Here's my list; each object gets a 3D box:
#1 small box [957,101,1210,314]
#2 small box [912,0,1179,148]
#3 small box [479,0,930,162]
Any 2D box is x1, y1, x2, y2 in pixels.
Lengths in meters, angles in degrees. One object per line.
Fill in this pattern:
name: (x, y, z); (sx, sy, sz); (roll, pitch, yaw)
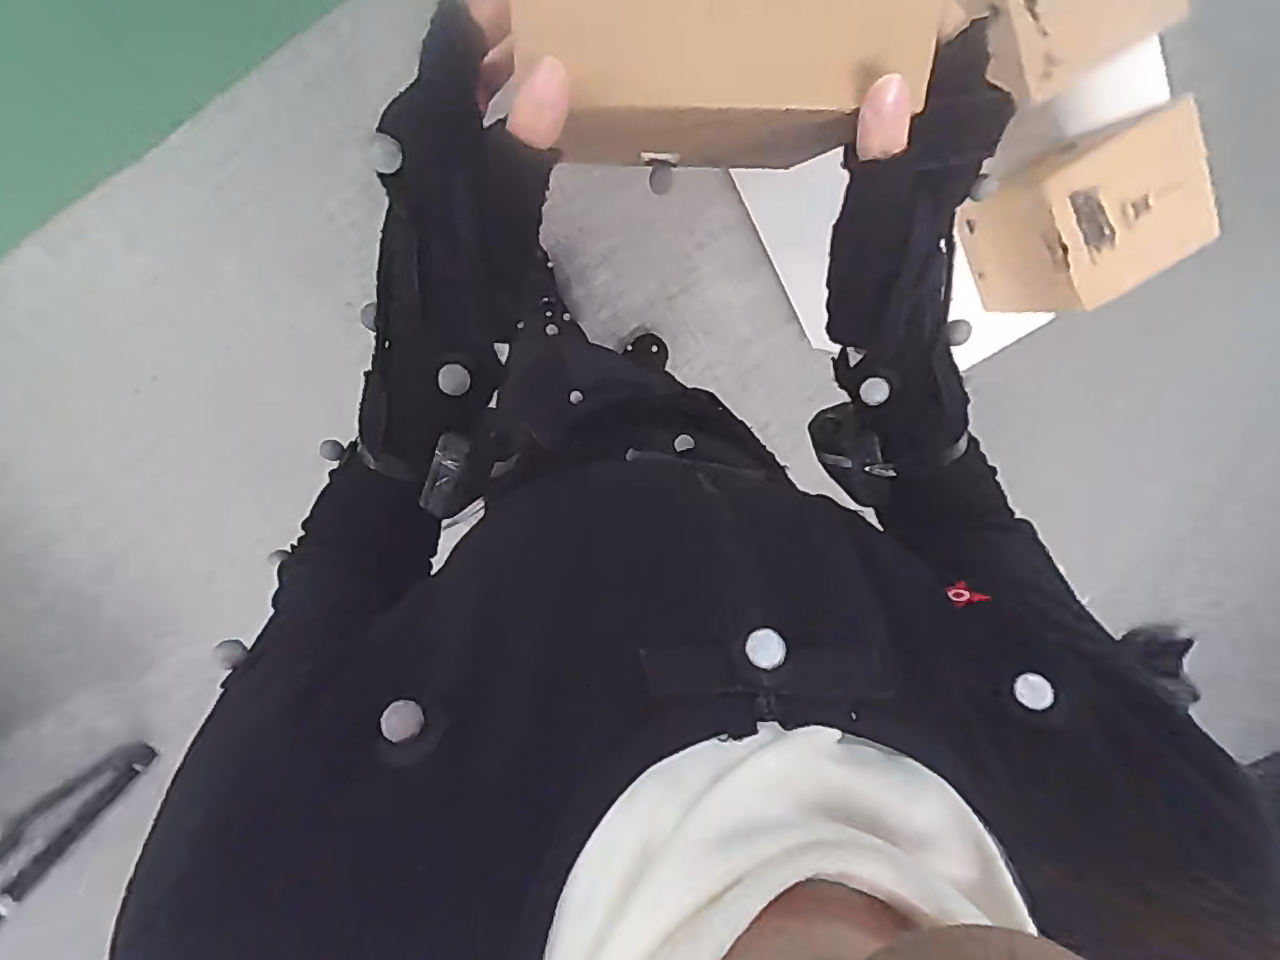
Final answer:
small box: (0.542, -0.325, 0.688); (0.179, 0.176, 0.168); (-30, 107, 4)
small box: (0.440, -0.522, 0.618); (0.179, 0.176, 0.168); (-28, 107, 4)
small box: (0.018, -0.260, 0.243); (0.168, 0.176, 0.179); (-2, 112, -4)
